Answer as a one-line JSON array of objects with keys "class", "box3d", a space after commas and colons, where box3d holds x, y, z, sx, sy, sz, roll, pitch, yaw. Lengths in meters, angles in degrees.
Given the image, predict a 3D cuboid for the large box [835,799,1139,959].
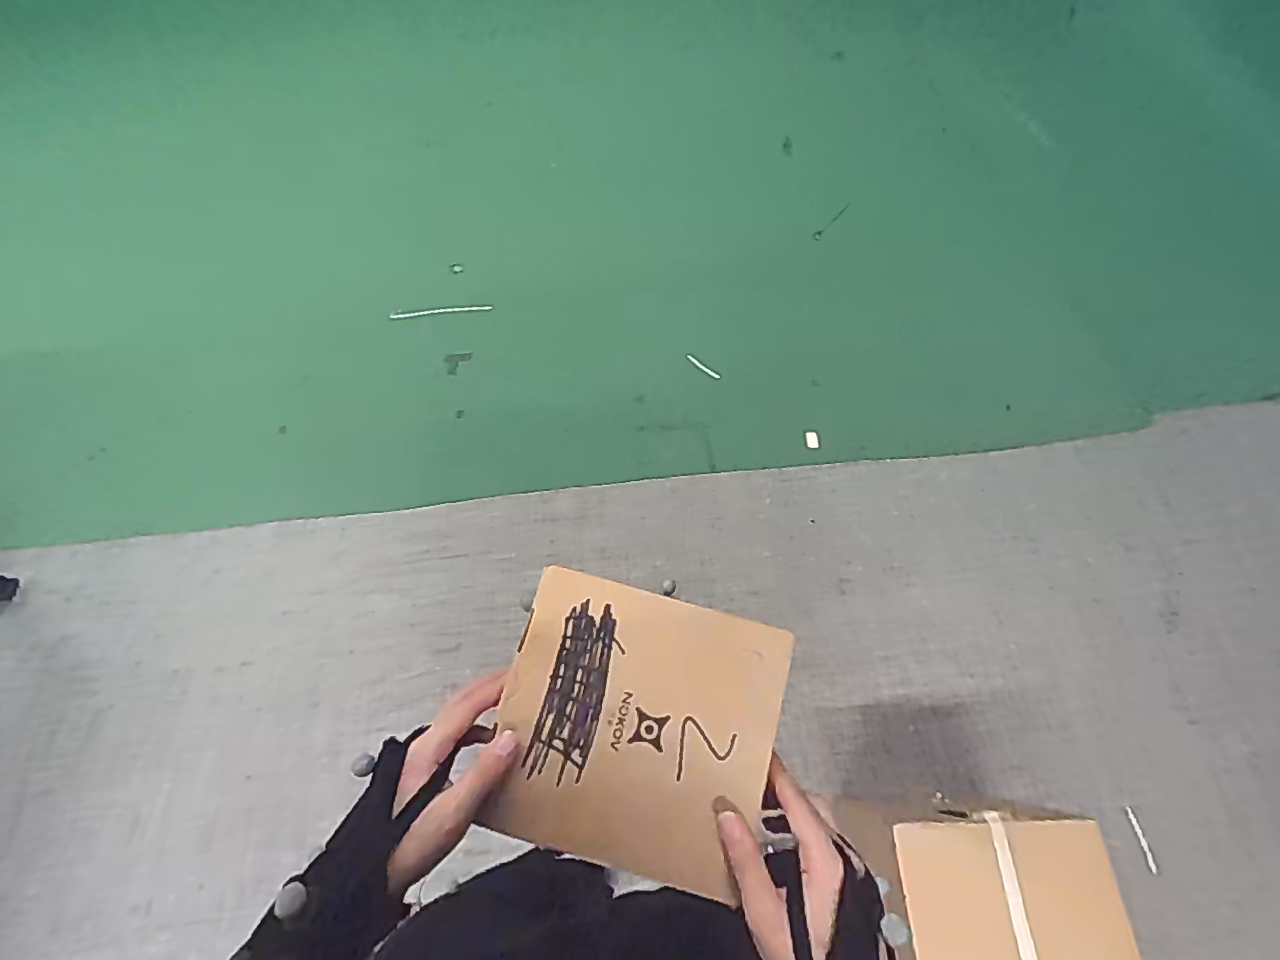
[{"class": "large box", "box3d": [0.544, 0.767, 0.868, 0.320, 0.320, 0.408, -2, 66, 1]}]
